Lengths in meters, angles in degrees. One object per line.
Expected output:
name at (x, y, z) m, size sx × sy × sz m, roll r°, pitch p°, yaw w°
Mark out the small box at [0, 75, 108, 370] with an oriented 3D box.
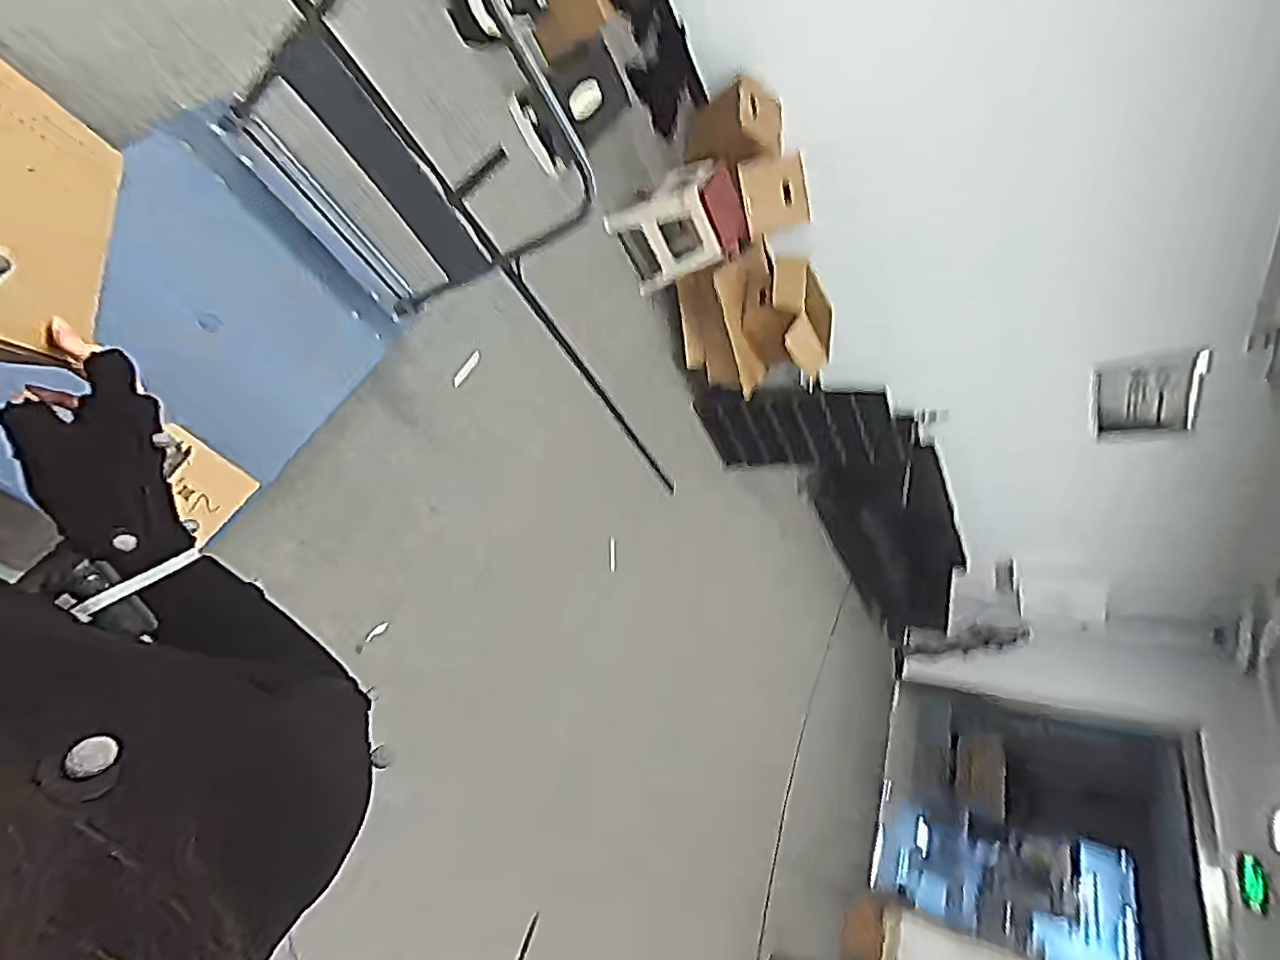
small box at (-0.465, -0.174, 0.307) m, size 0.179 × 0.168 × 0.176 m, roll 137°, pitch -44°, yaw -84°
